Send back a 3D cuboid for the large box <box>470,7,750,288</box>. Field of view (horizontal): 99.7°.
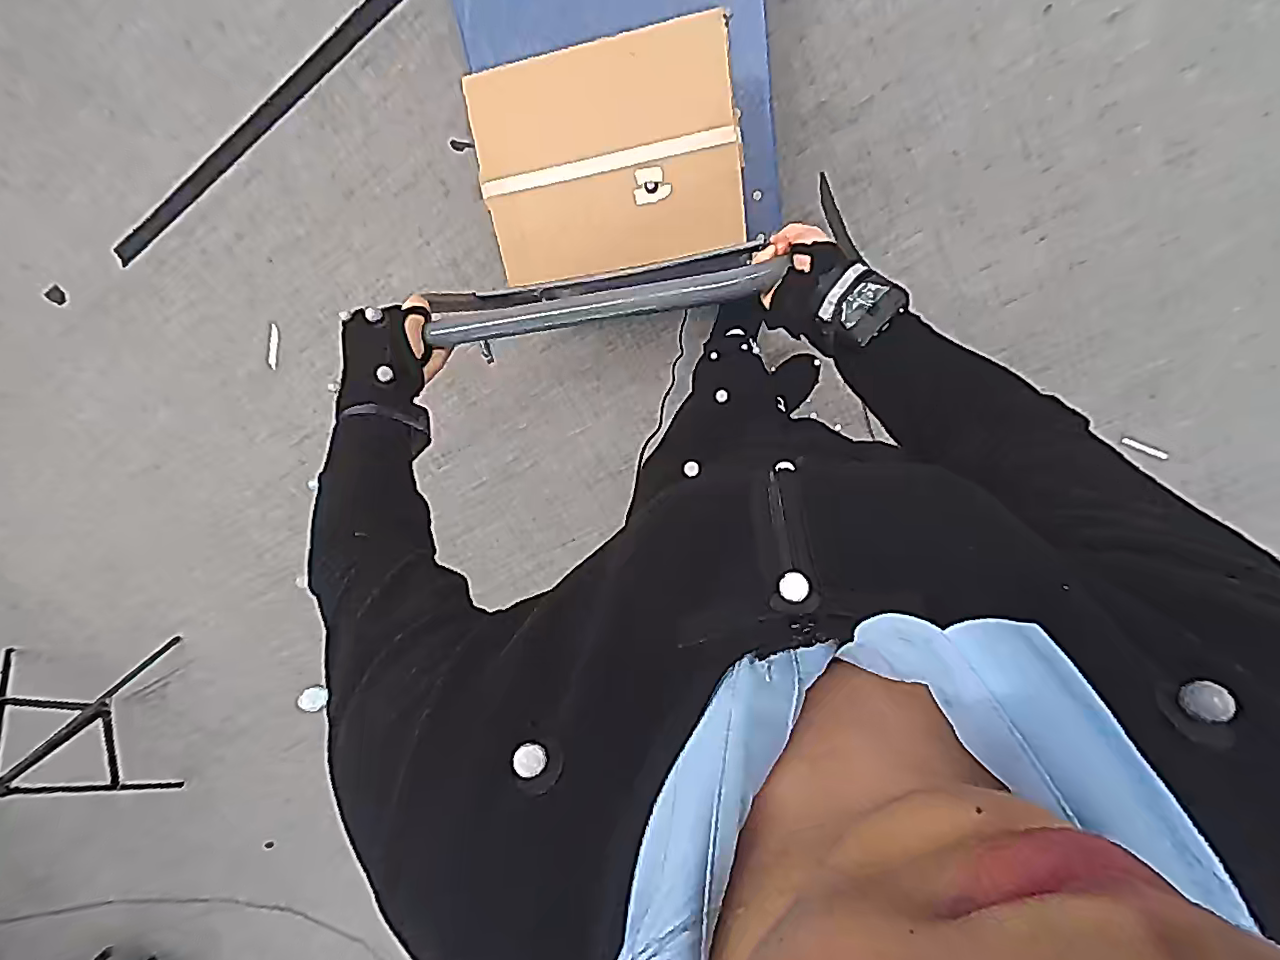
[{"bbox_3d":[-0.026,-0.549,0.980,0.408,0.320,0.320,-7,111,11],"label":"large box"}]
